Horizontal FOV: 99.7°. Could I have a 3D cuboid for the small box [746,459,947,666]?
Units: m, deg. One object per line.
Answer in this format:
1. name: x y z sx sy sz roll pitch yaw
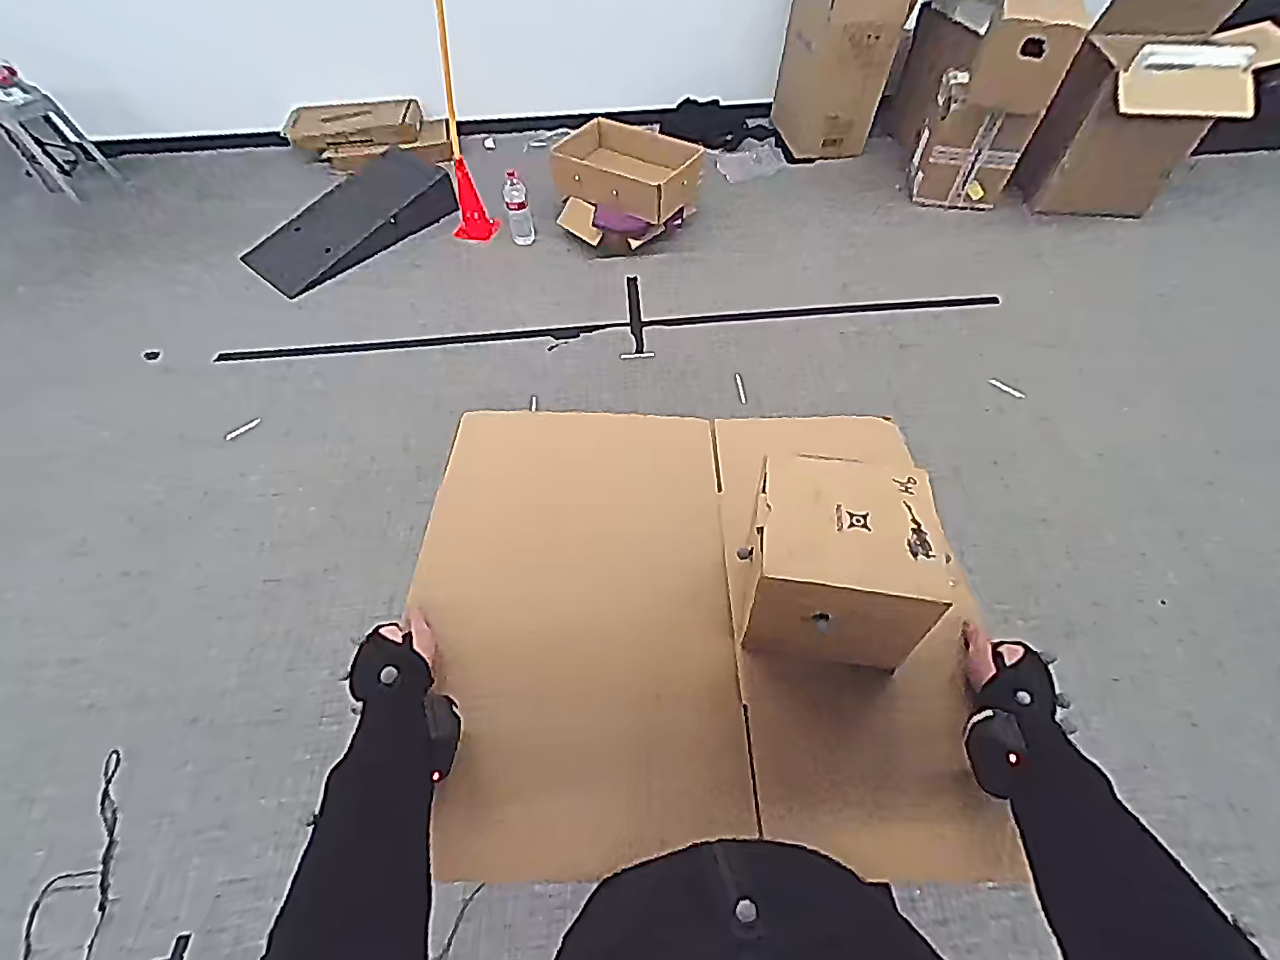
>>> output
1. small box: 0.219 0.097 0.623 0.179 0.176 0.168 6 51 9
